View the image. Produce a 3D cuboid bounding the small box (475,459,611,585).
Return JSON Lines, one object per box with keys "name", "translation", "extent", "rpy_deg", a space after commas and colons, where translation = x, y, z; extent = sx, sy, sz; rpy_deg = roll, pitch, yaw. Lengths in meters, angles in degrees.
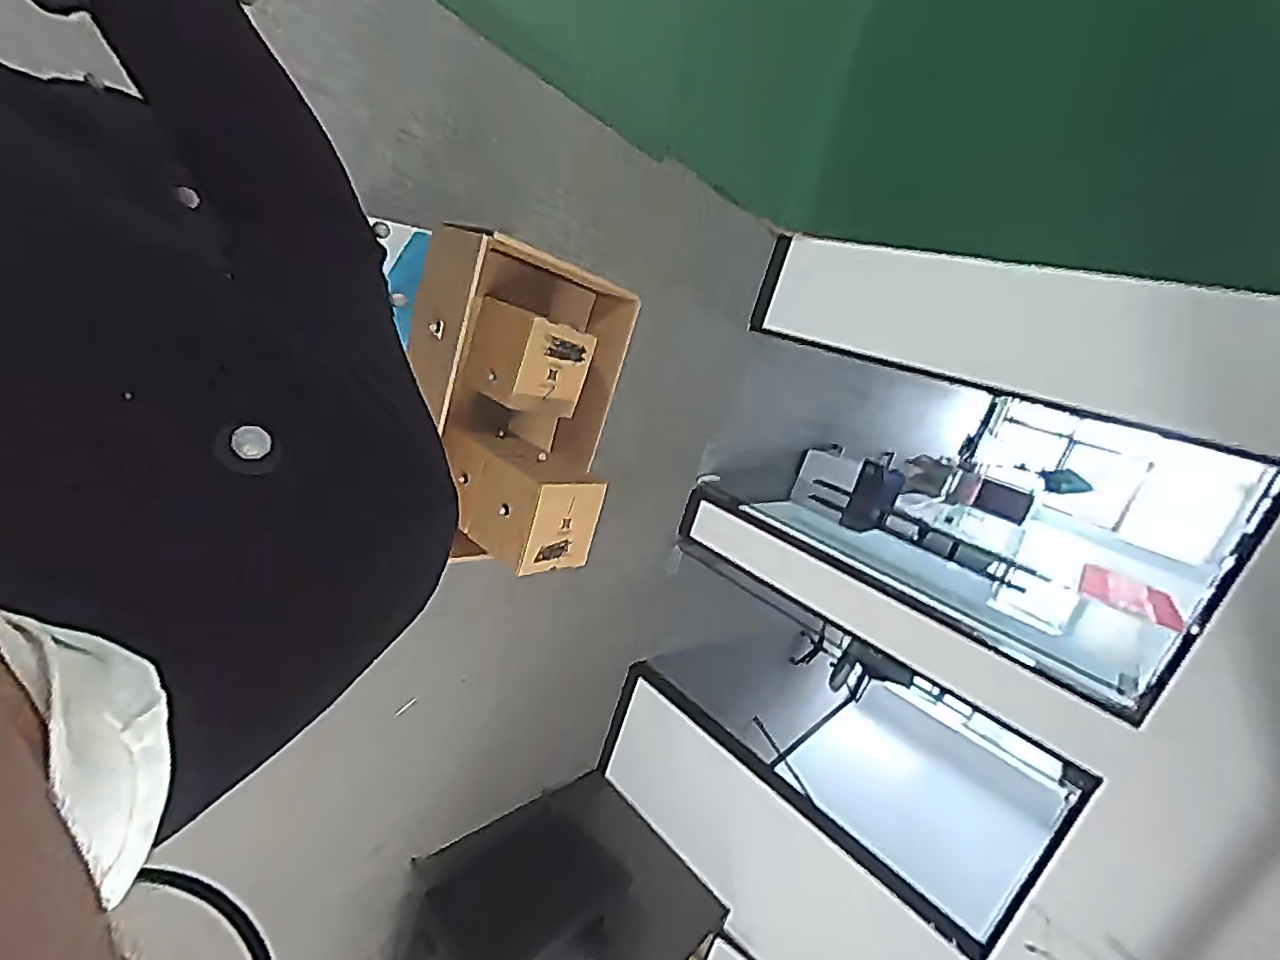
{"name": "small box", "translation": [-0.188, 0.074, 1.018], "extent": [0.168, 0.176, 0.179], "rpy_deg": [1, 110, -51]}
